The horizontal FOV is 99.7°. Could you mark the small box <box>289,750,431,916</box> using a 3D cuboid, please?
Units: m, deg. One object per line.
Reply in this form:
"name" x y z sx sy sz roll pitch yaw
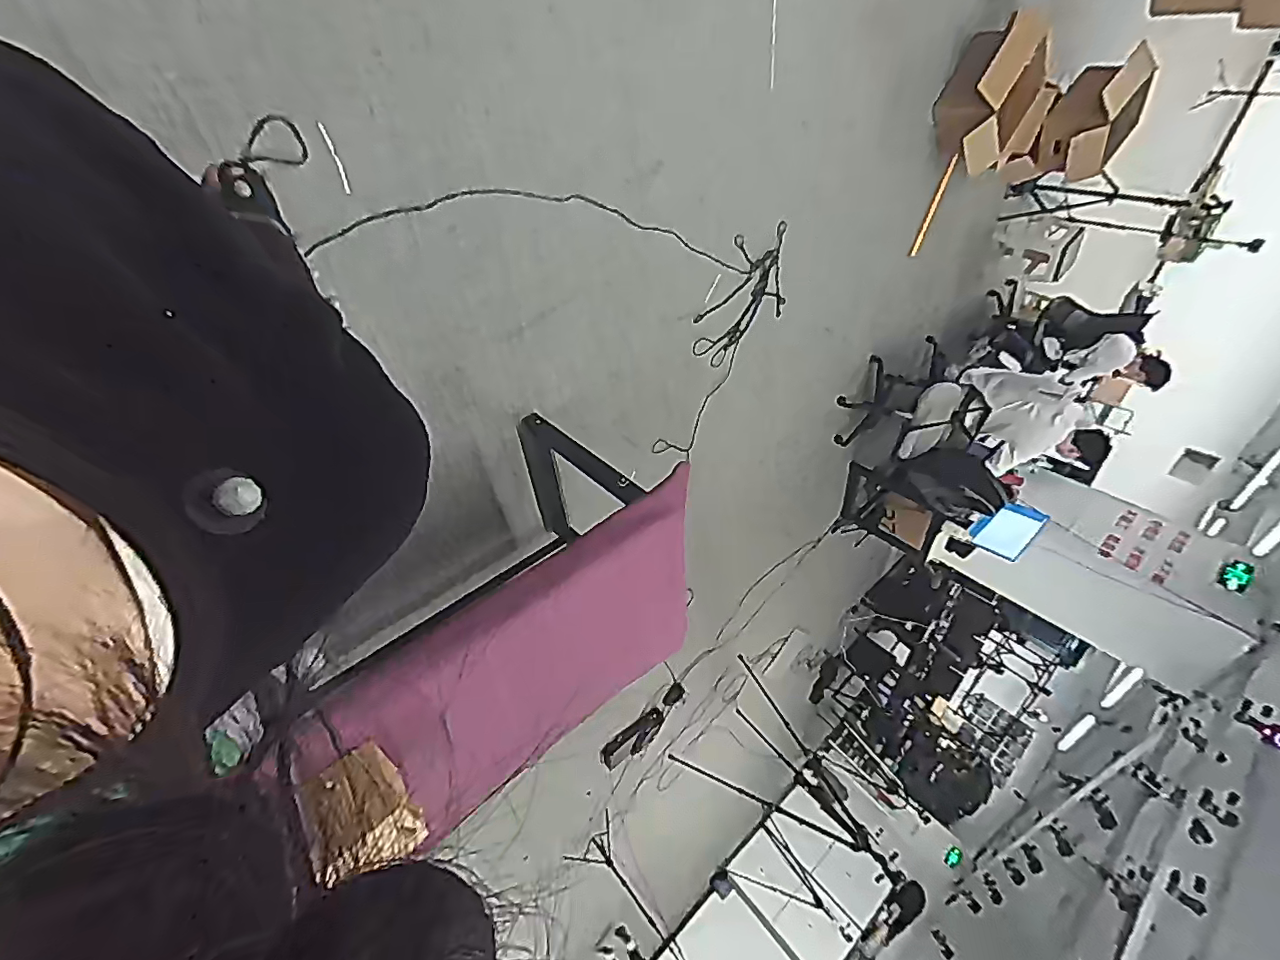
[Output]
"small box" -0.534 0.663 1.026 0.179 0.176 0.168 -32 138 -28
